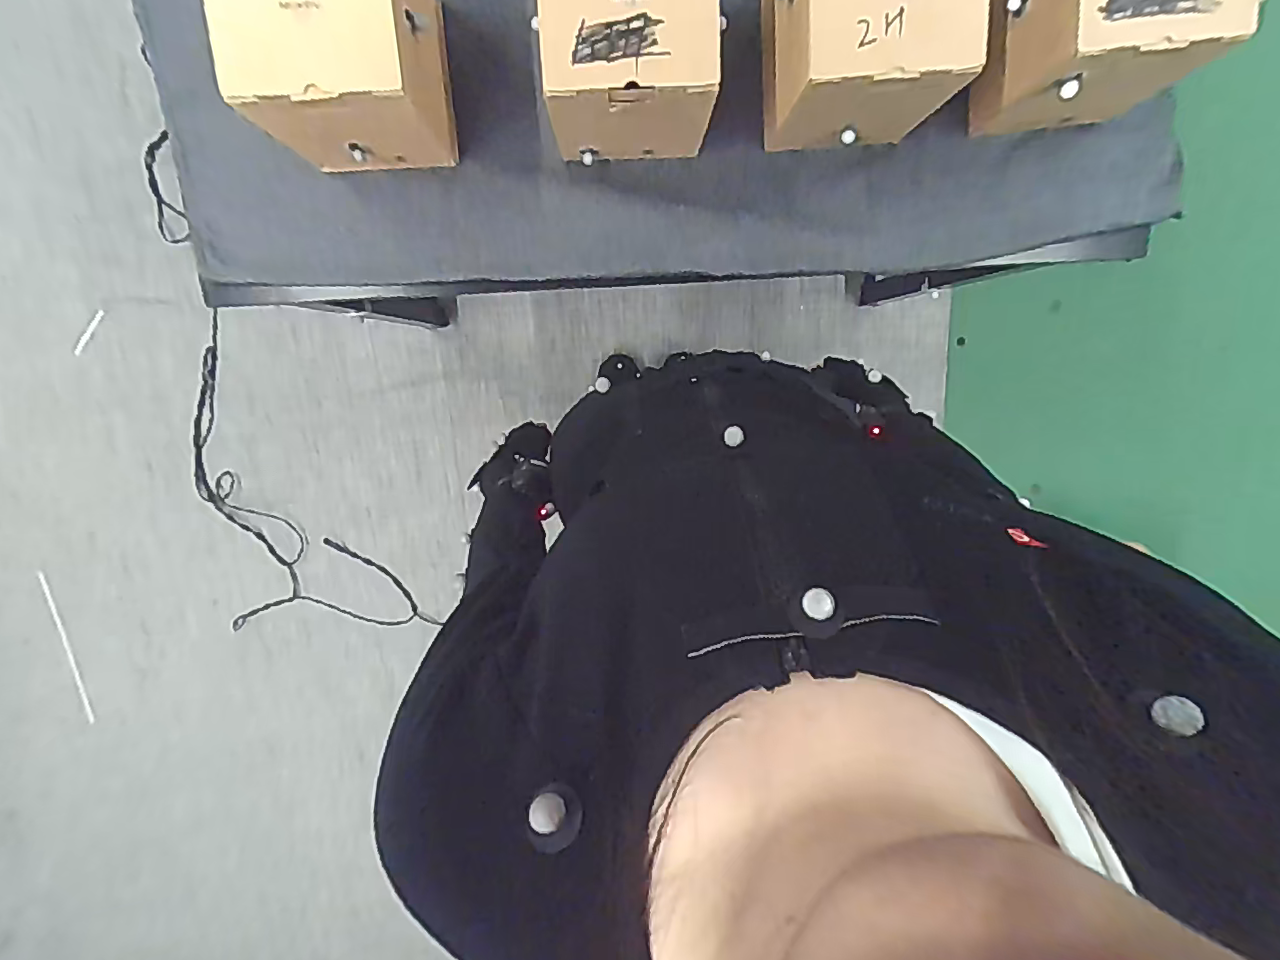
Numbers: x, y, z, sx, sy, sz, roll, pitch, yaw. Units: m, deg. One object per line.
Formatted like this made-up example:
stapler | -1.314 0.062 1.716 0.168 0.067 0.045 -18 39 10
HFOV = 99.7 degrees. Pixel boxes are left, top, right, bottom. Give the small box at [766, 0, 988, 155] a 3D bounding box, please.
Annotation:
small box | 0.231 -0.470 0.564 0.168 0.176 0.179 -4 102 1

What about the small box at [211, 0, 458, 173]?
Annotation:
small box | -0.299 -0.443 0.554 0.168 0.176 0.179 -4 101 -2

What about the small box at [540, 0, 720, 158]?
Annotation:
small box | -0.010 -0.454 0.561 0.168 0.176 0.179 -2 101 -1
